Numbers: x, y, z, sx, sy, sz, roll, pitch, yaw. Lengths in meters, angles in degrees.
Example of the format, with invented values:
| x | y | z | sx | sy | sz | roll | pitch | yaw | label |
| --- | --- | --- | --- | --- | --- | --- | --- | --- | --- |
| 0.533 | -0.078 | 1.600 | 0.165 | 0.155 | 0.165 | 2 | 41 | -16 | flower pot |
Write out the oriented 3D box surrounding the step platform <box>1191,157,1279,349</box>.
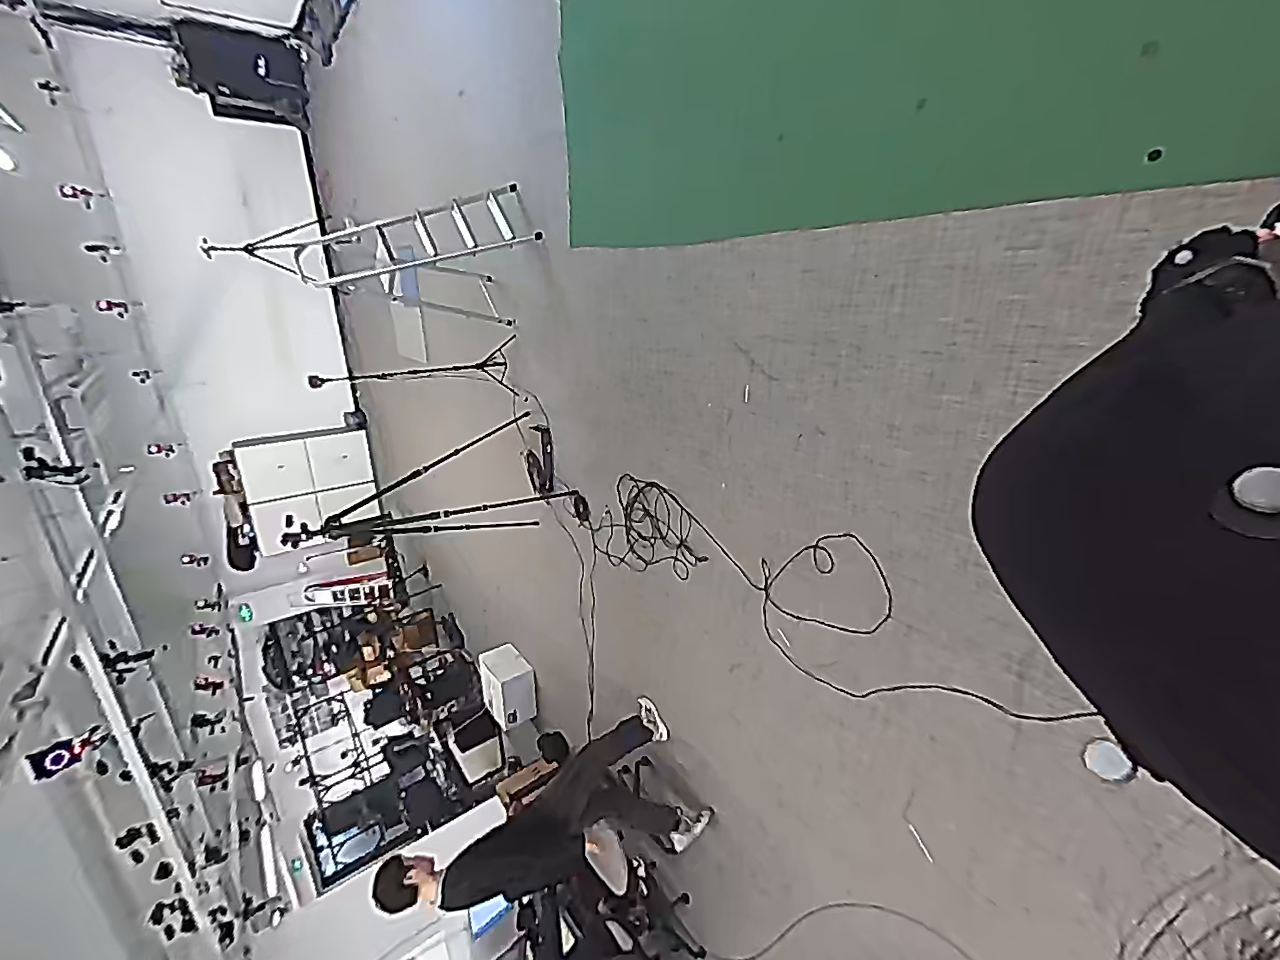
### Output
| x | y | z | sx | sy | sz | roll | pitch | yaw | label |
| --- | --- | --- | --- | --- | --- | --- | --- | --- | --- |
| 1.216 | -0.306 | 0.695 | 0.684 | 0.204 | 0.286 | 22 | 121 | 49 | step platform |
